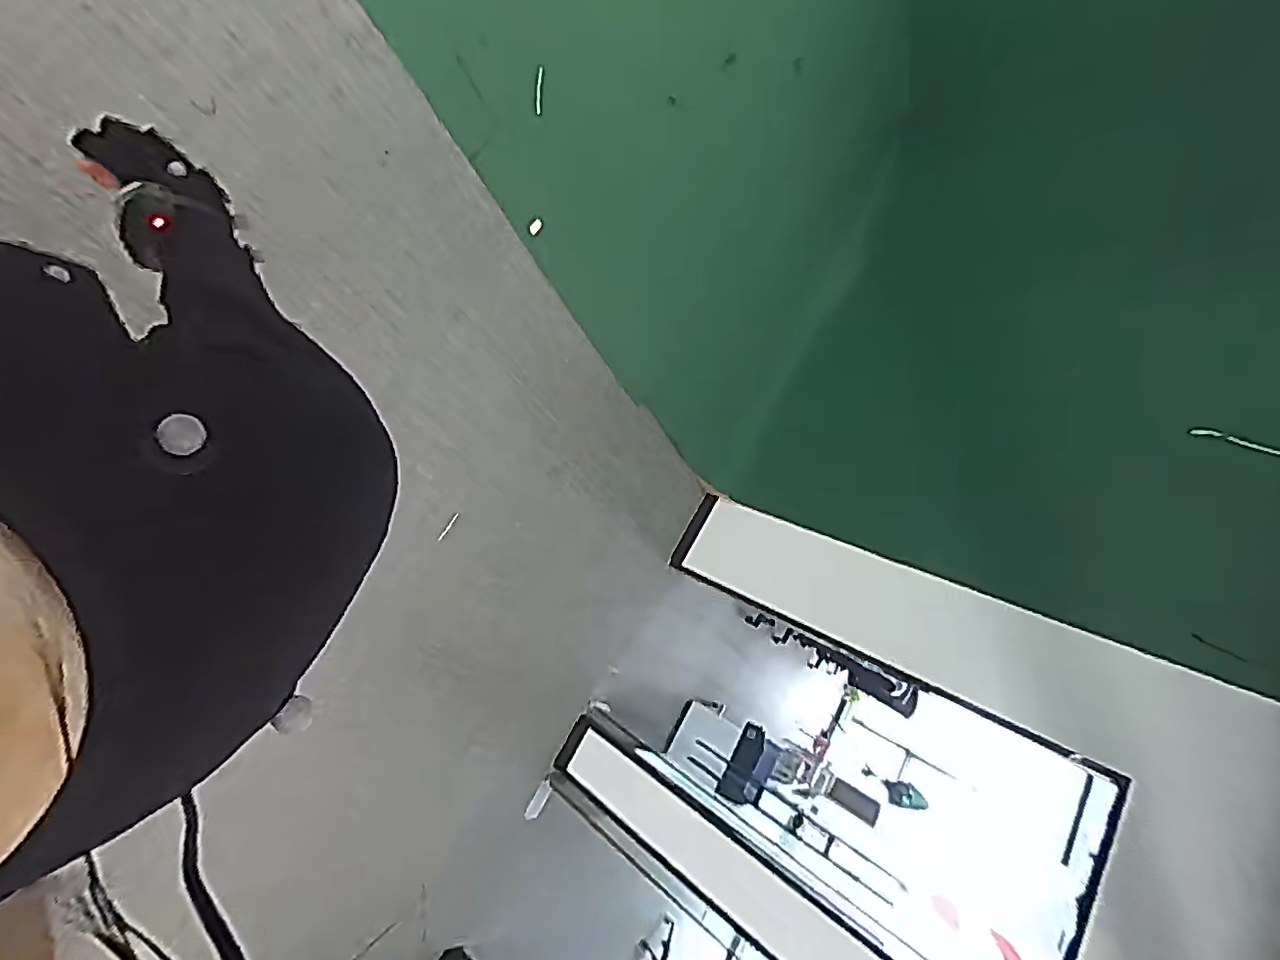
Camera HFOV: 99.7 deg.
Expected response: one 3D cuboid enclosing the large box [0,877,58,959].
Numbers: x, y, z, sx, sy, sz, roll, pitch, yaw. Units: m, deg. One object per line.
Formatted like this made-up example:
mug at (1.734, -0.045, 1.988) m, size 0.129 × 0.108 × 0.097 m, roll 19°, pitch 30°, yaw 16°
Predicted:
large box at (-1.457, 1.010, 1.001) m, size 0.320 × 0.320 × 0.408 m, roll -57°, pitch 144°, yaw -14°
